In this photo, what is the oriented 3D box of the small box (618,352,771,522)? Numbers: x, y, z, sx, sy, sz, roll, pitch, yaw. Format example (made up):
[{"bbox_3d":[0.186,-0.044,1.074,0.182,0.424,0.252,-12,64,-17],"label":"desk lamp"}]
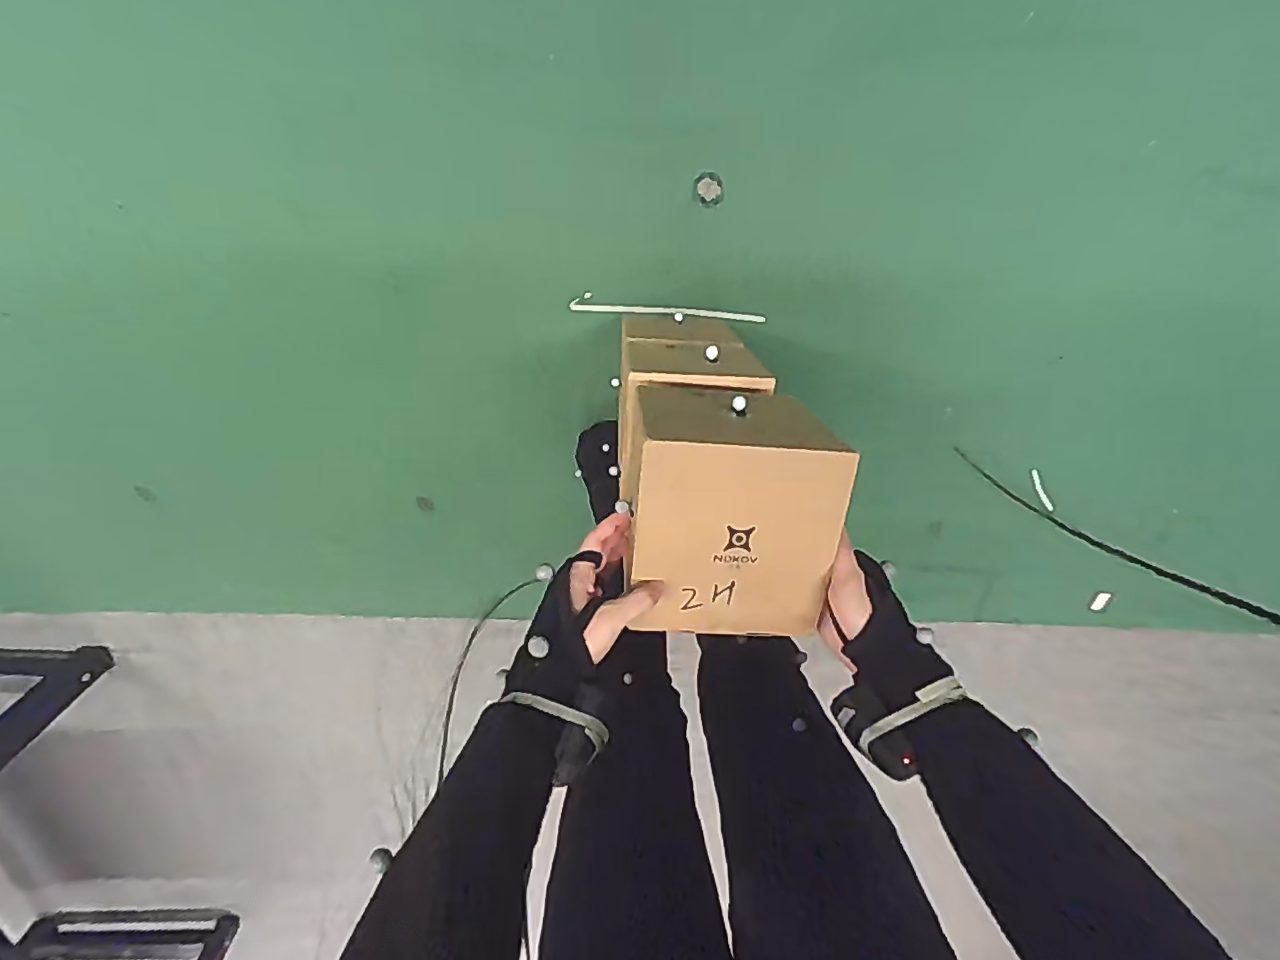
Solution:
[{"bbox_3d":[0.057,-0.062,0.702,0.168,0.176,0.179,1,117,-3],"label":"small box"}]
